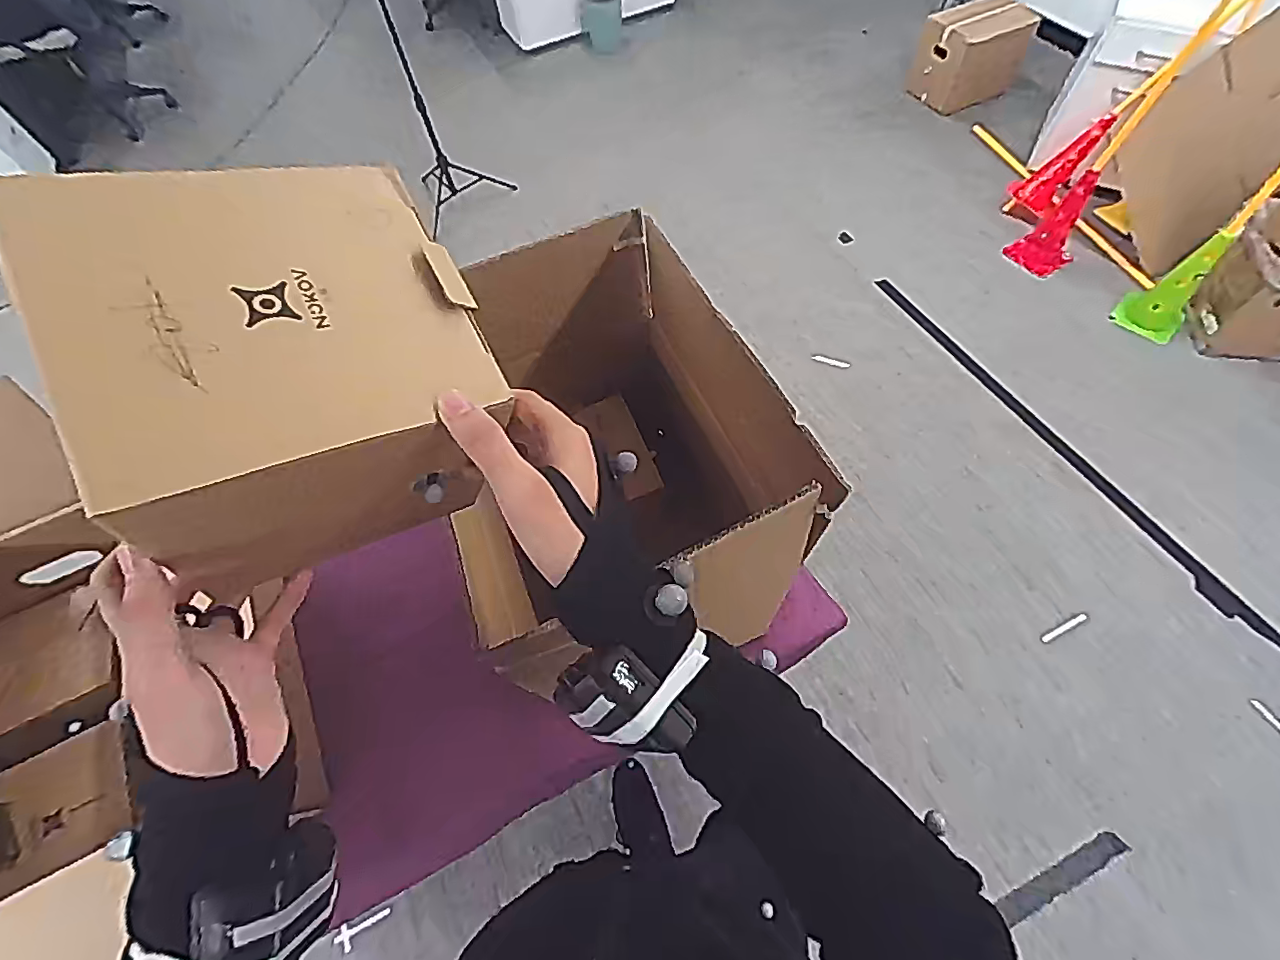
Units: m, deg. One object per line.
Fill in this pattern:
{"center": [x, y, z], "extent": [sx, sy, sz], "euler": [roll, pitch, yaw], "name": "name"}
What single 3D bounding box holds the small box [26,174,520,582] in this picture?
{"center": [-0.201, -0.057, 0.338], "extent": [0.179, 0.176, 0.168], "euler": [-22, 77, -30], "name": "small box"}
